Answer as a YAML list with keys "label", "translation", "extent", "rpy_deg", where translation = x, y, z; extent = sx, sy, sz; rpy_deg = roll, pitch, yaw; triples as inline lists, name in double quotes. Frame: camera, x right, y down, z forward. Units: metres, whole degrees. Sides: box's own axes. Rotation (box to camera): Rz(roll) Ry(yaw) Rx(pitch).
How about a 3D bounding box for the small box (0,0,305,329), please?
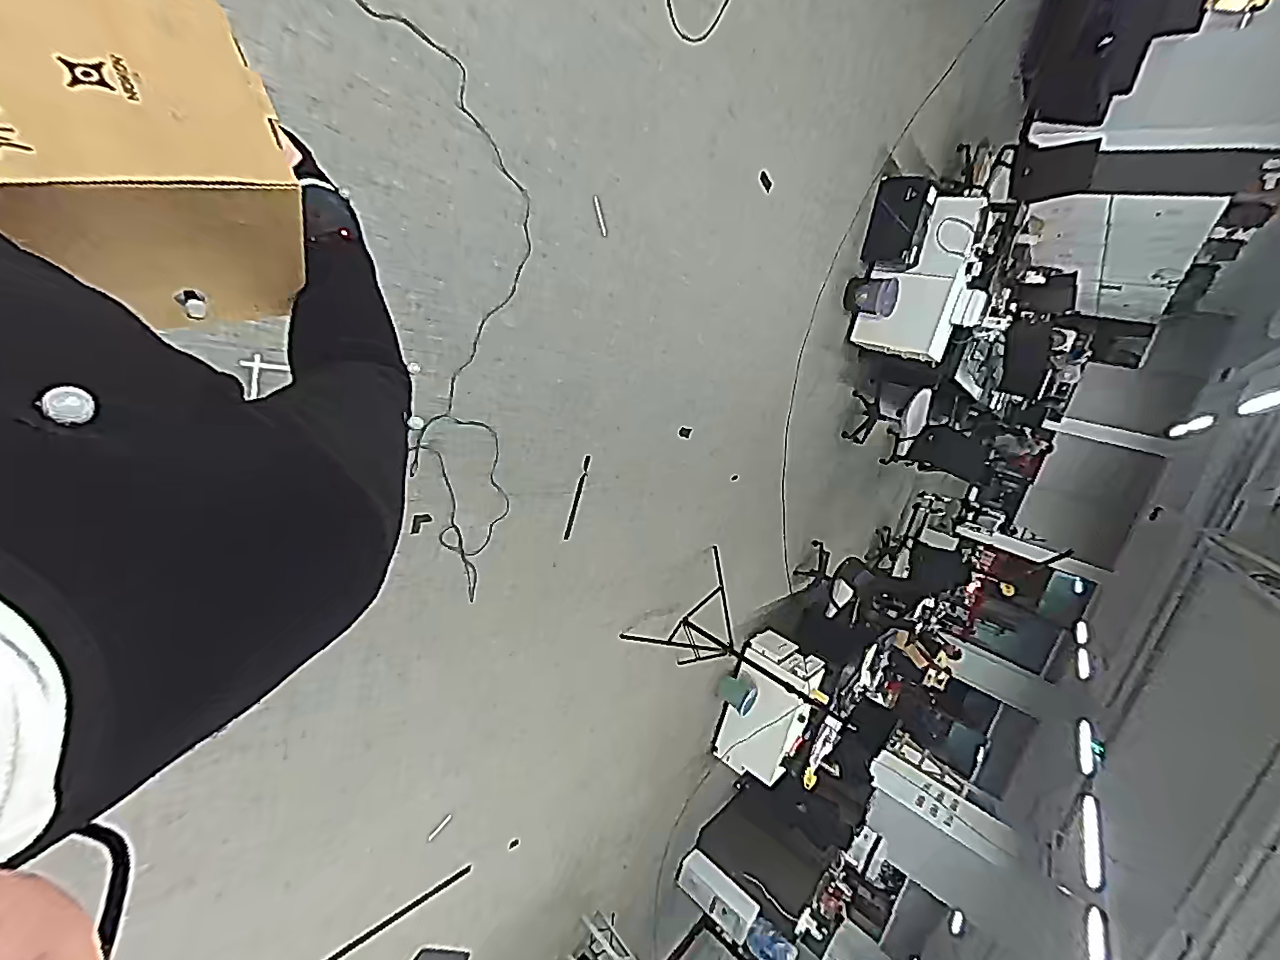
- label: "small box"
  translation: [-0.395, -0.243, 0.436]
  extent: [0.179, 0.176, 0.168]
  rpy_deg: [-21, 83, -35]
